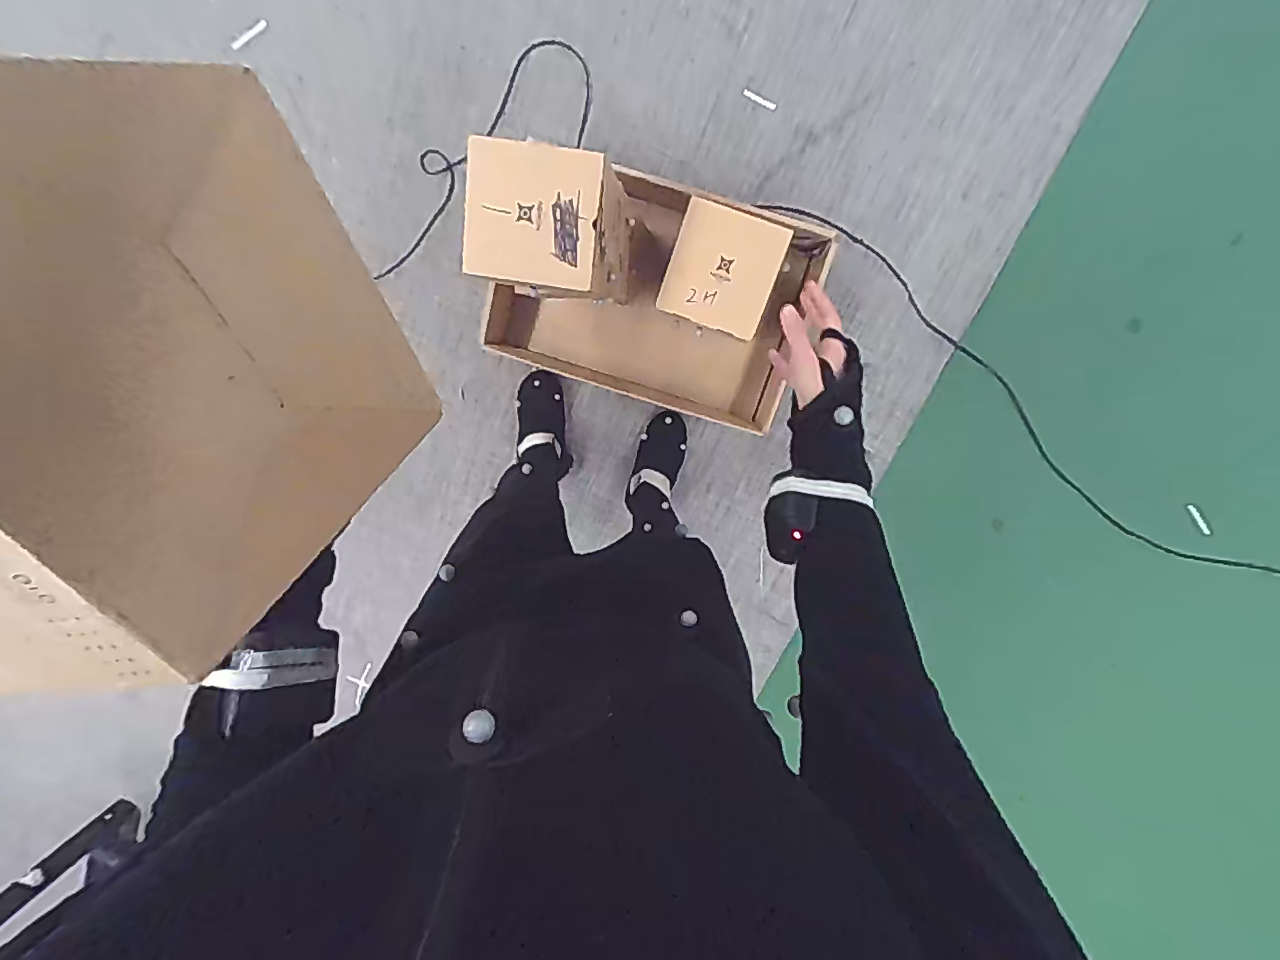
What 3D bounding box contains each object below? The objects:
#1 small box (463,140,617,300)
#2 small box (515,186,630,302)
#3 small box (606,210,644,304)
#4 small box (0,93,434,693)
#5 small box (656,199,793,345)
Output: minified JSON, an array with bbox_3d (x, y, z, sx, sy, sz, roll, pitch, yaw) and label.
[{"bbox_3d":[-0.133,-0.354,0.767,0.179,0.176,0.168,9,106,2],"label":"small box"},{"bbox_3d":[-0.109,-0.396,0.924,0.179,0.176,0.168,2,106,4],"label":"small box"},{"bbox_3d":[-0.100,-0.456,1.076,0.179,0.176,0.168,18,106,-2],"label":"small box"},{"bbox_3d":[-0.226,-0.034,0.223,0.176,0.179,0.168,-8,124,19],"label":"small box"},{"bbox_3d":[0.135,-0.340,0.914,0.168,0.176,0.179,20,106,1],"label":"small box"}]
